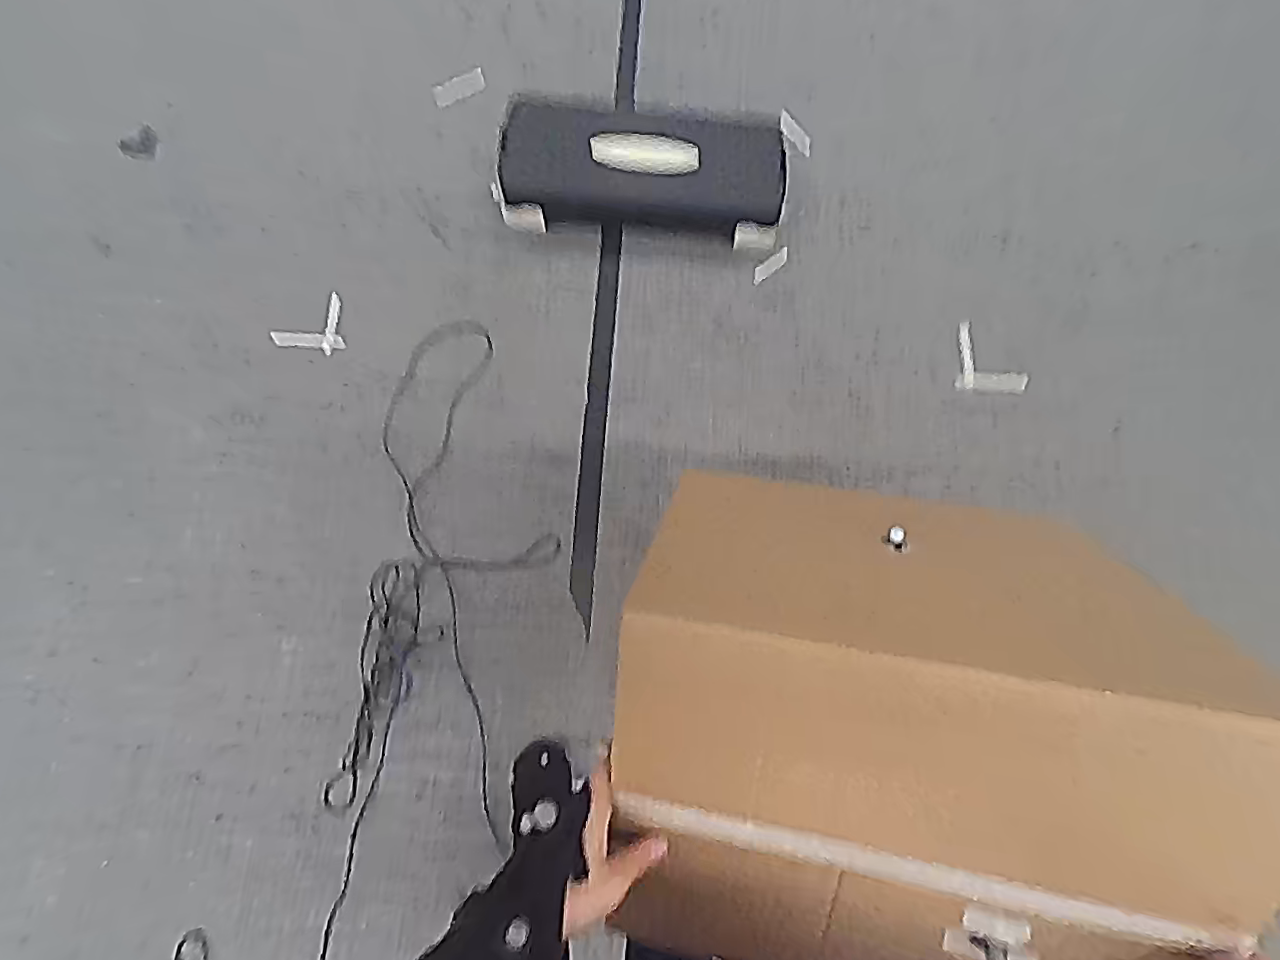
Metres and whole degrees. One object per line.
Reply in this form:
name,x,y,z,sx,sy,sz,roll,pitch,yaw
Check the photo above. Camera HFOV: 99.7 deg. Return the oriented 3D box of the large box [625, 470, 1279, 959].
large box,0.214,0.191,0.511,0.408,0.320,0.320,7,110,10
